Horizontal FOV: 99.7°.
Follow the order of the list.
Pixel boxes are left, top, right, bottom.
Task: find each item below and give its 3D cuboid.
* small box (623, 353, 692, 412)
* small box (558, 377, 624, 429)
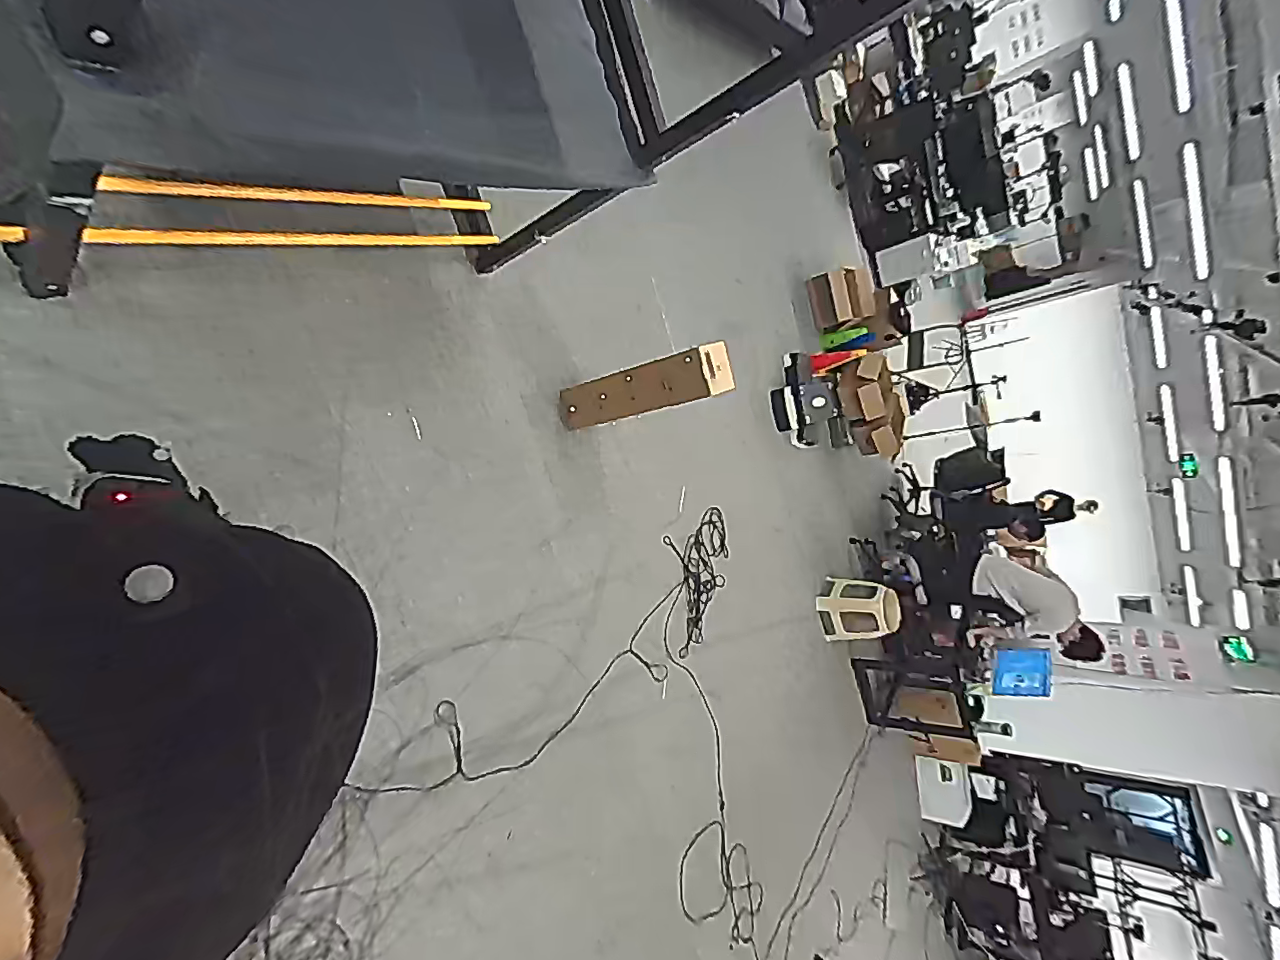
[{"bbox_3d":[0.056,-0.349,1.948,0.179,0.176,0.168,-25,103,-50],"label":"small box"},{"bbox_3d":[-0.195,-0.309,2.152,0.179,0.176,0.168,-21,99,-50],"label":"small box"}]
